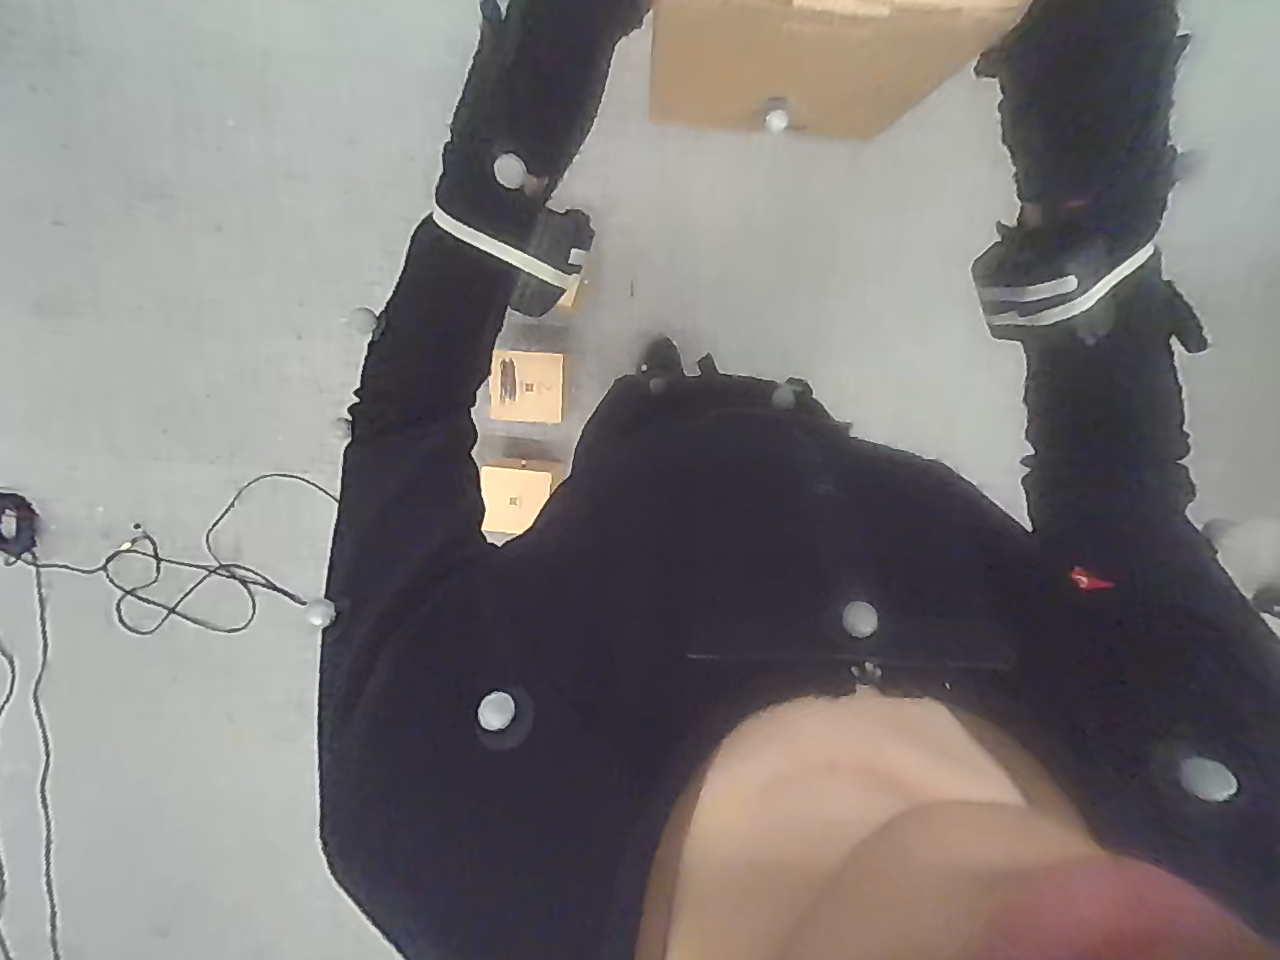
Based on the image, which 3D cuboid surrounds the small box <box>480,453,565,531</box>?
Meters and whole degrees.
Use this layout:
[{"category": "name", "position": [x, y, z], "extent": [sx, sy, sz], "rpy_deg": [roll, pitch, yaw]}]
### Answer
[{"category": "small box", "position": [-0.301, 0.025, 1.410], "extent": [0.179, 0.176, 0.168], "rpy_deg": [5, 101, 1]}]

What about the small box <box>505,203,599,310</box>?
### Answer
[{"category": "small box", "position": [-0.203, -0.527, 1.304], "extent": [0.168, 0.176, 0.179], "rpy_deg": [19, 99, -2]}]
